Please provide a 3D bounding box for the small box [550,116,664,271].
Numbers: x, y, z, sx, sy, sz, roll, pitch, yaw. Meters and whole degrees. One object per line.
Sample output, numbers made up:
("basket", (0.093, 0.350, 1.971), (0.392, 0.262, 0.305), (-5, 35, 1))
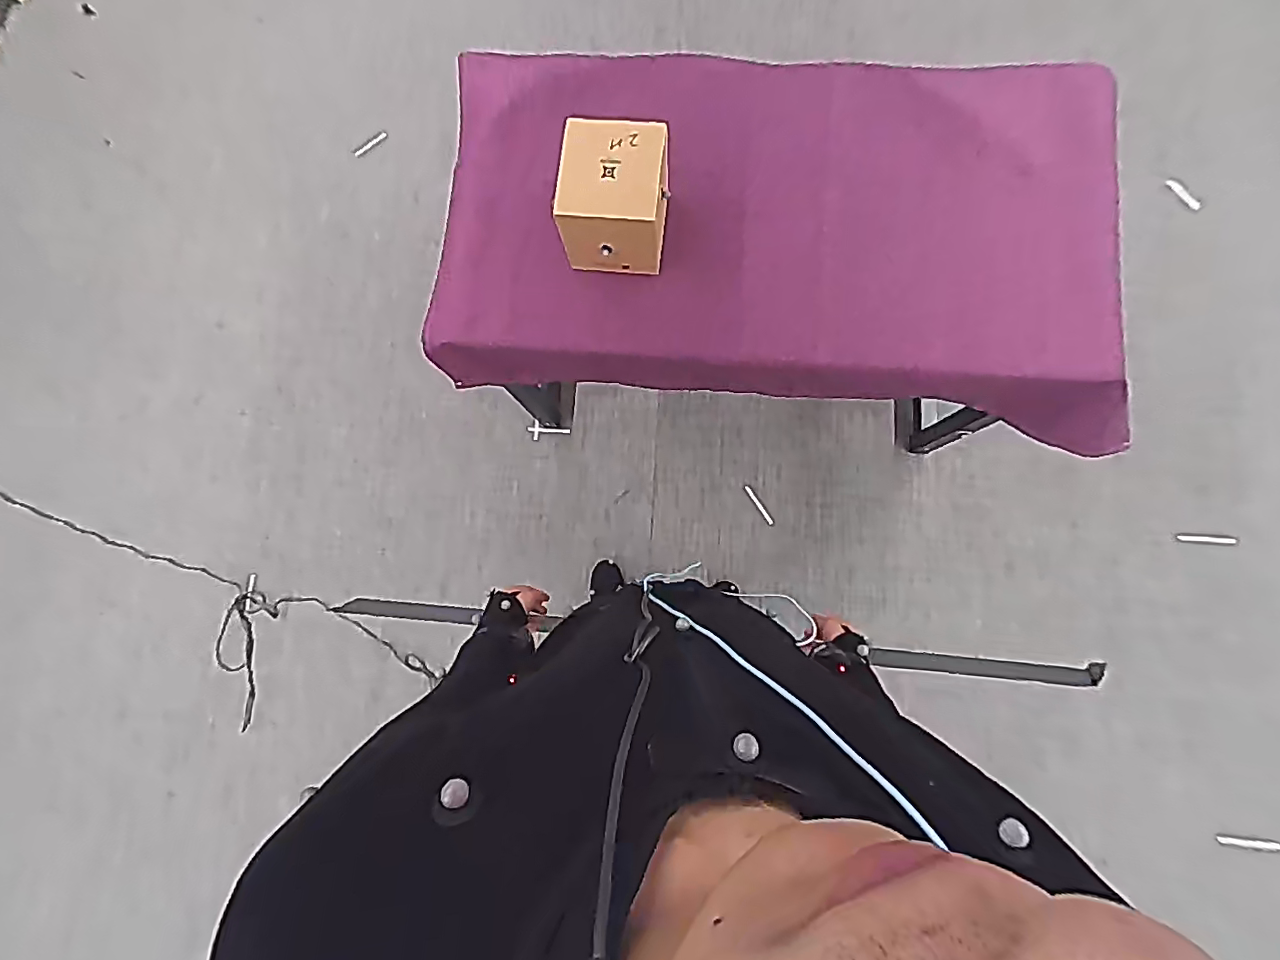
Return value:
("small box", (-0.048, -0.487, 0.942), (0.168, 0.176, 0.179), (6, 82, 4))
